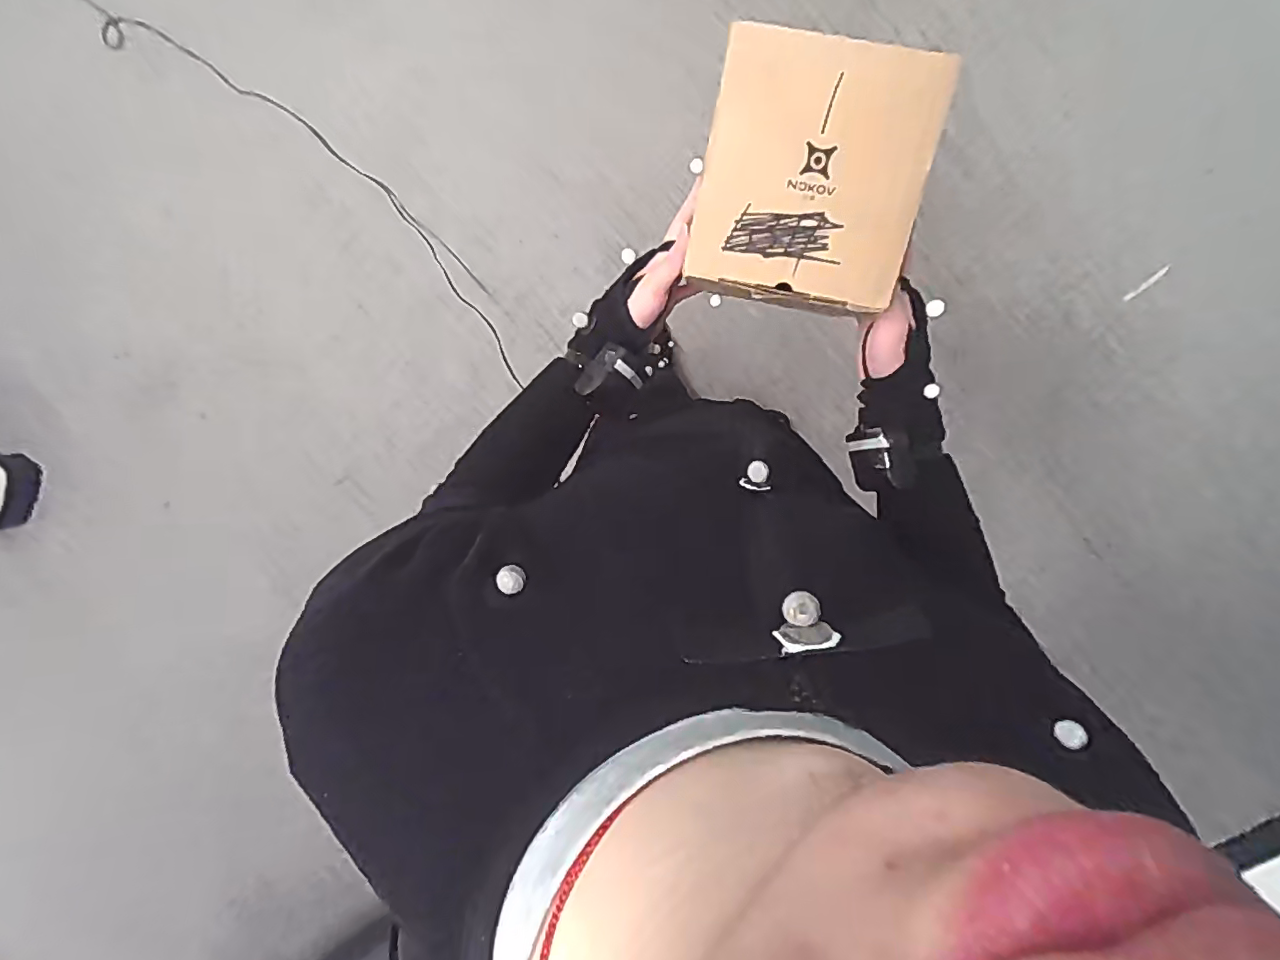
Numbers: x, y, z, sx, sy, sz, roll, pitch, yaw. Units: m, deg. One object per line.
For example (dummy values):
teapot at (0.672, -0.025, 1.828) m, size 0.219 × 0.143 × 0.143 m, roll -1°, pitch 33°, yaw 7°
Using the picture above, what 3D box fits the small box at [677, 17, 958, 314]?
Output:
small box at (0.135, -0.249, 0.476) m, size 0.168 × 0.176 × 0.179 m, roll 13°, pitch 106°, yaw 3°
